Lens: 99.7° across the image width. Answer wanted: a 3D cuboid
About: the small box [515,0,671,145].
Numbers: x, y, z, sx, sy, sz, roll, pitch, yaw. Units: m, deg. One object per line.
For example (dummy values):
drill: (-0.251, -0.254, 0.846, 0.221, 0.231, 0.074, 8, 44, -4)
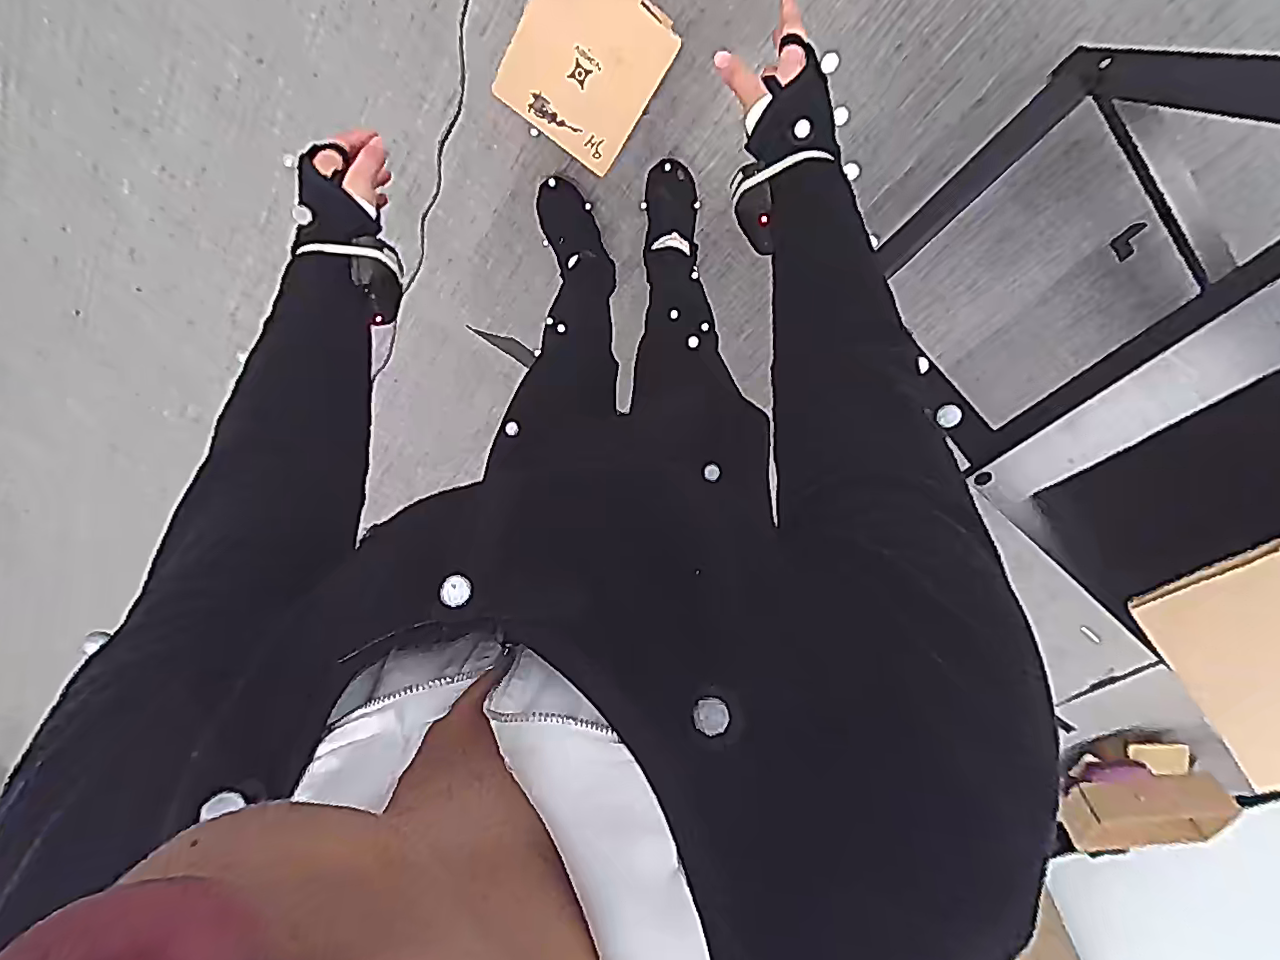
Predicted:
small box: (-0.069, -0.653, 0.821, 0.168, 0.176, 0.179, 25, 123, -21)
